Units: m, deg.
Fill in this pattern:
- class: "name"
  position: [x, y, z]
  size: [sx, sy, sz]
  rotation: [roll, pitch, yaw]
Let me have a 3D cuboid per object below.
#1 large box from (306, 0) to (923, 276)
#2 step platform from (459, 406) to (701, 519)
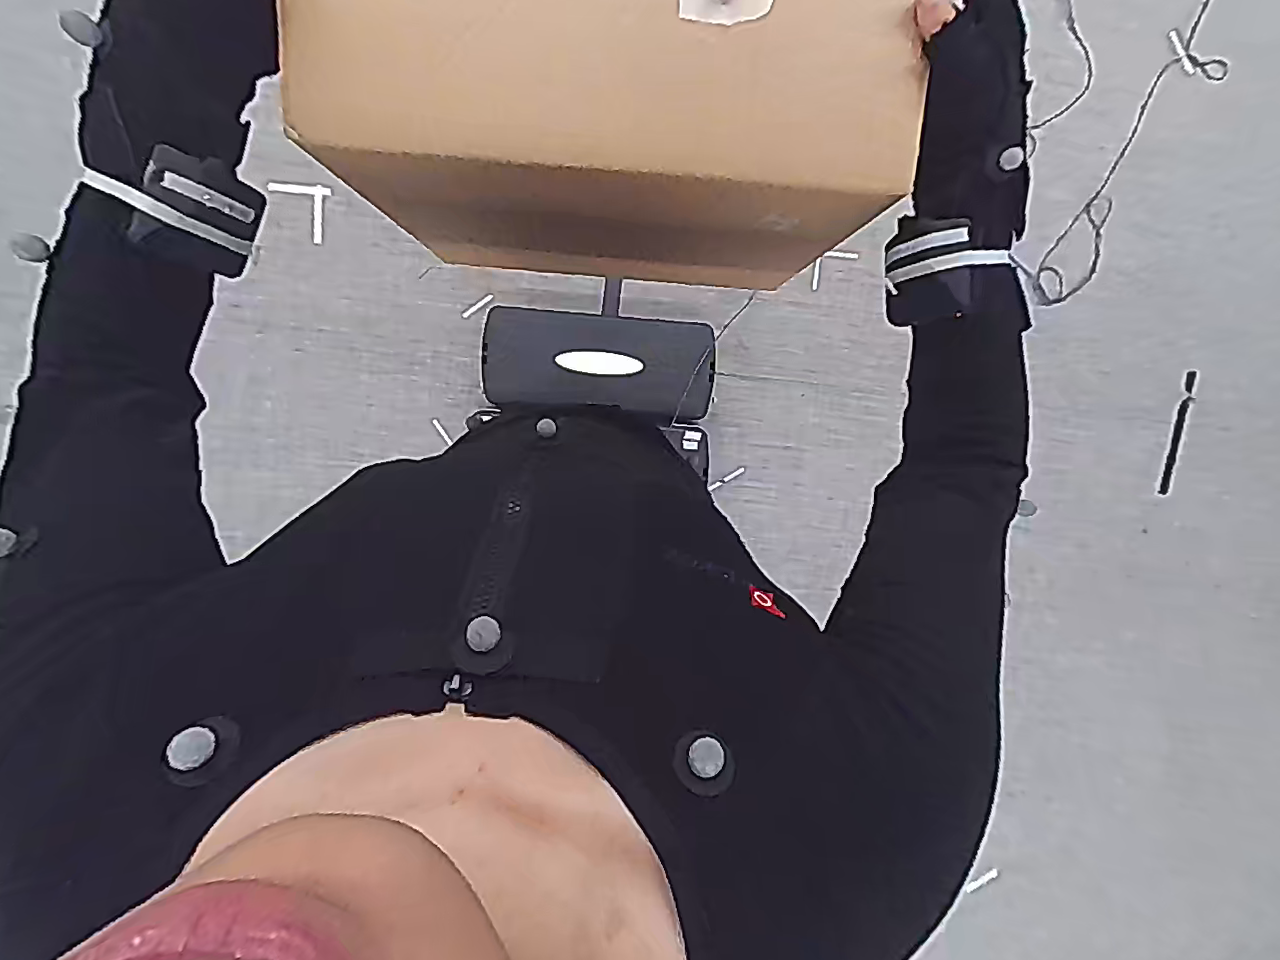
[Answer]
- class: "large box"
  position: [-0.017, -0.385, 0.486]
  size: [0.408, 0.320, 0.320]
  rotation: [3, 99, -3]
- class: "step platform"
  position: [-0.165, -0.051, 1.566]
  size: [0.684, 0.204, 0.286]
  rotation: [4, 96, -2]
